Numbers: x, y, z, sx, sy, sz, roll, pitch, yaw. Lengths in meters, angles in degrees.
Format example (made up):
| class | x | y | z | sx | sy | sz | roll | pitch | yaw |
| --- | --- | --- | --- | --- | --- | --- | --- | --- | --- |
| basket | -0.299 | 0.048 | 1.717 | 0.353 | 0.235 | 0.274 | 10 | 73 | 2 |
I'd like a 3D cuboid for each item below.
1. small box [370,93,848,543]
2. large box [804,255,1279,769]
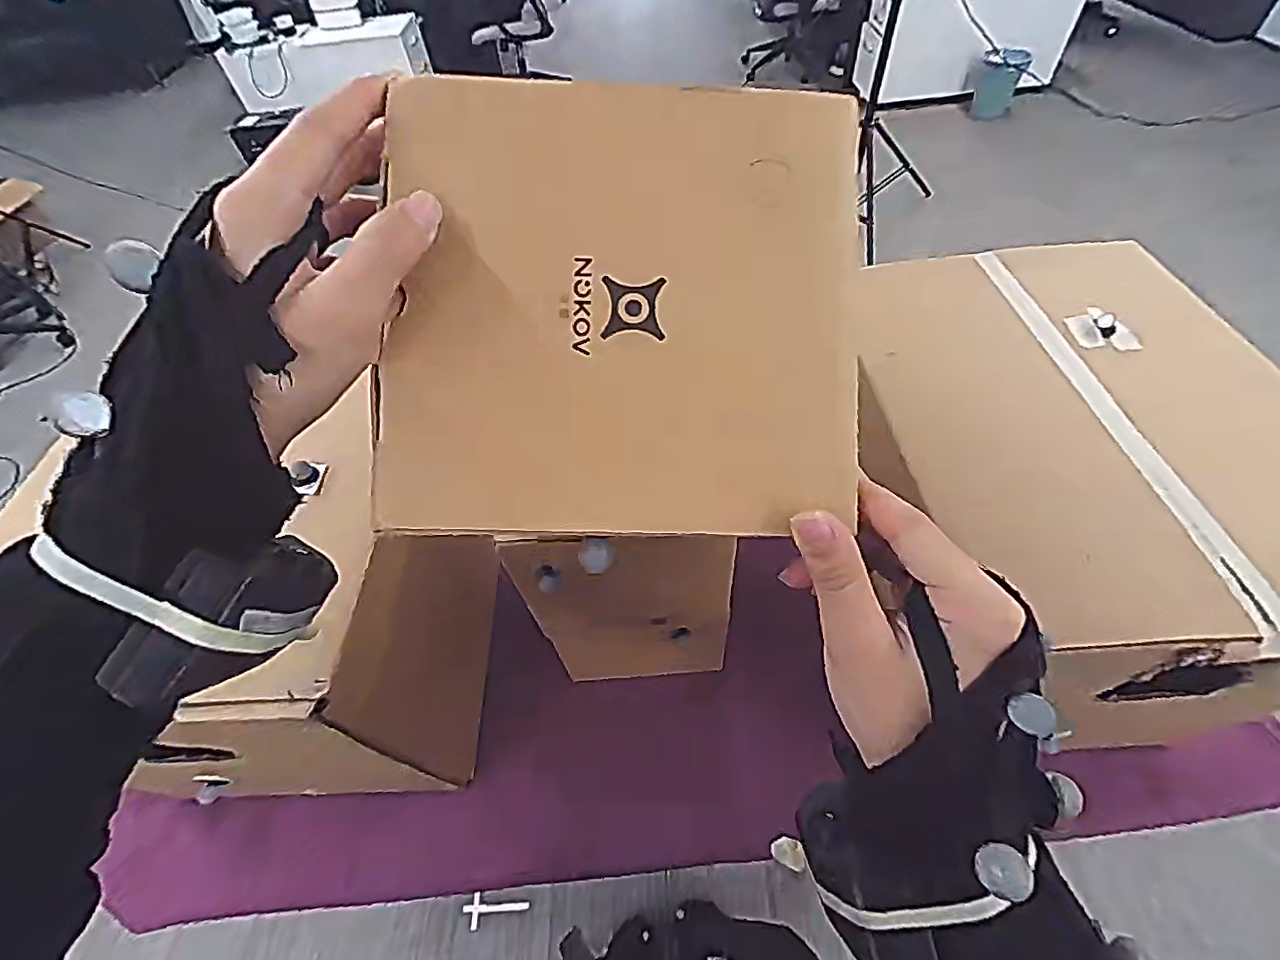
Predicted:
| class | x | y | z | sx | sy | sz | roll | pitch | yaw |
| --- | --- | --- | --- | --- | --- | --- | --- | --- | --- |
| small box | -0.012 | -0.057 | 0.280 | 0.179 | 0.176 | 0.168 | 0 | 87 | -1 |
| large box | 0.355 | 0.032 | 0.550 | 0.320 | 0.320 | 0.408 | -5 | 51 | 2 |
